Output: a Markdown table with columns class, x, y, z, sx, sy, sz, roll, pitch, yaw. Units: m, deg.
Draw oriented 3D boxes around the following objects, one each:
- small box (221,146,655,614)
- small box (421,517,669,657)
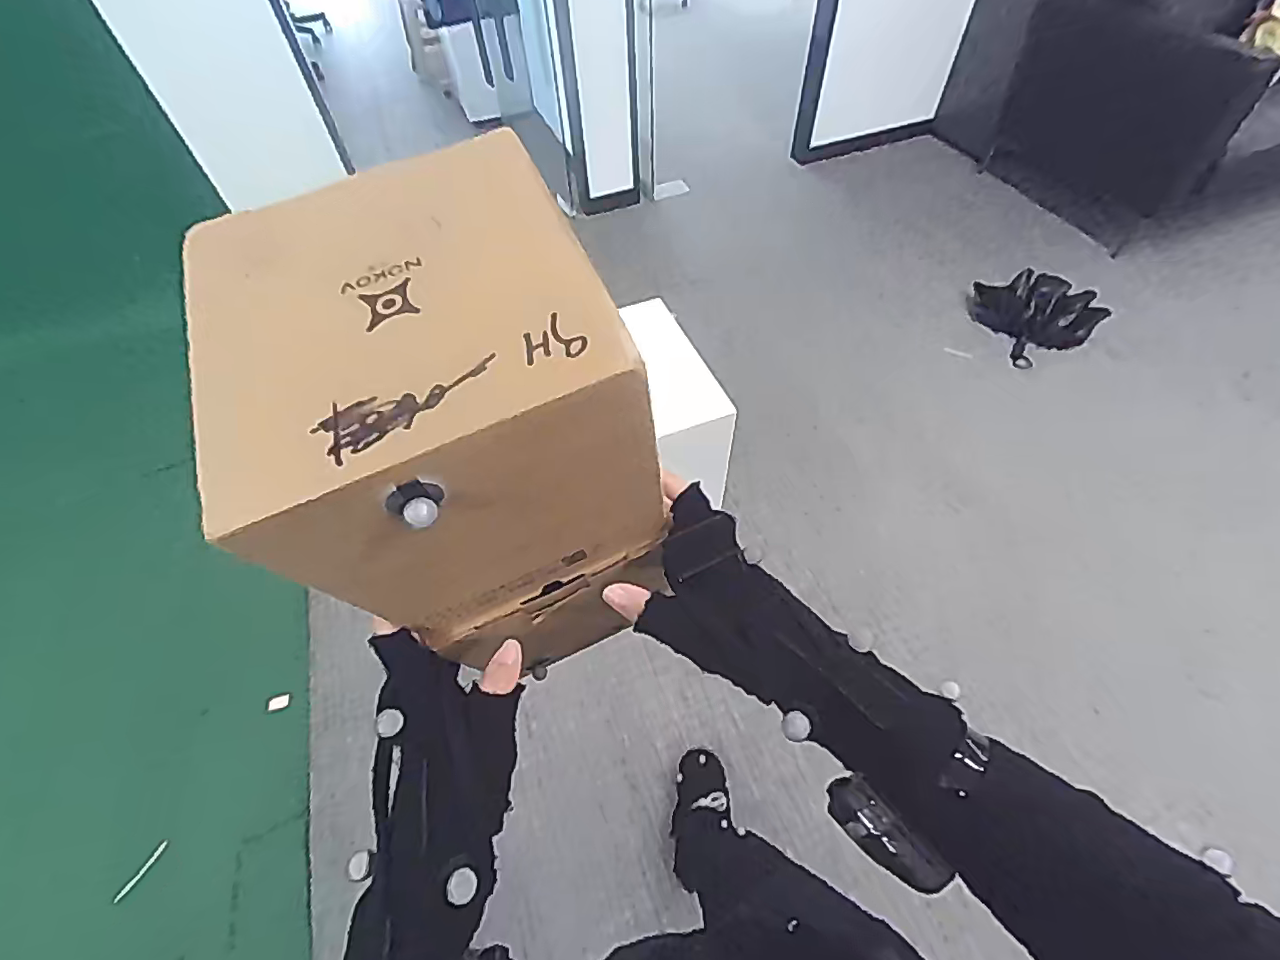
| class | x | y | z | sx | sy | sz | roll | pitch | yaw |
| --- | --- | --- | --- | --- | --- | --- | --- | --- | --- |
| small box | -0.101 | -0.047 | 0.318 | 0.168 | 0.176 | 0.179 | -23 | 62 | -5 |
| small box | -0.084 | 0.034 | 0.459 | 0.168 | 0.176 | 0.179 | -24 | 62 | -6 |
